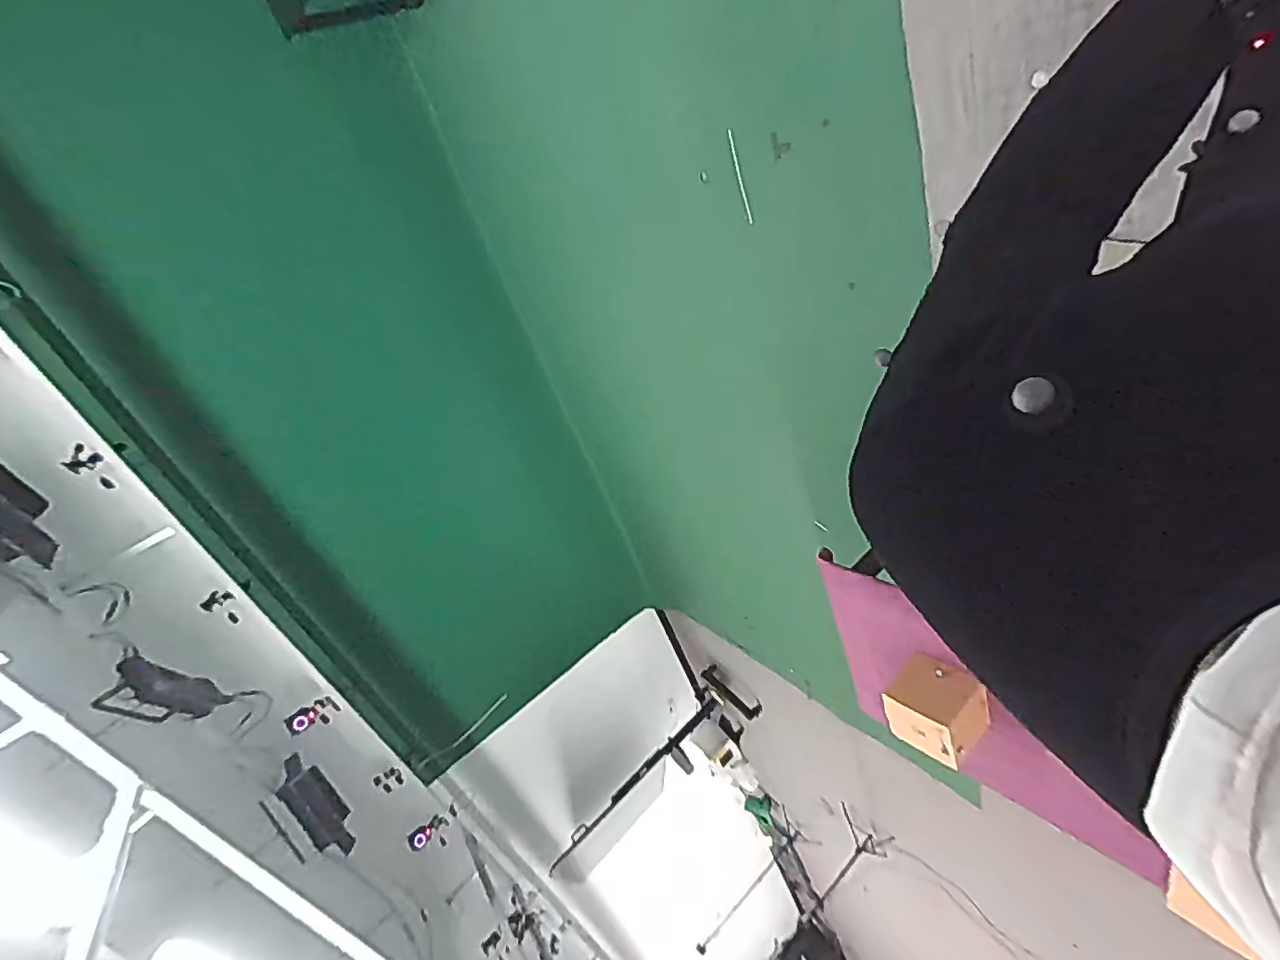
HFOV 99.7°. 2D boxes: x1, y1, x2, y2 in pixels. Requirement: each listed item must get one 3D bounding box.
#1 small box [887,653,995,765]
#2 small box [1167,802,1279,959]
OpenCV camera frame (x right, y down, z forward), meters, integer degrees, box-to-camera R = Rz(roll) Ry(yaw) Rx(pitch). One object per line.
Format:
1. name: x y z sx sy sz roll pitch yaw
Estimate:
1. small box: 0.776 0.577 1.394 0.179 0.176 0.168 19 139 56
2. small box: 1.085 0.711 0.953 0.179 0.176 0.168 21 140 54
